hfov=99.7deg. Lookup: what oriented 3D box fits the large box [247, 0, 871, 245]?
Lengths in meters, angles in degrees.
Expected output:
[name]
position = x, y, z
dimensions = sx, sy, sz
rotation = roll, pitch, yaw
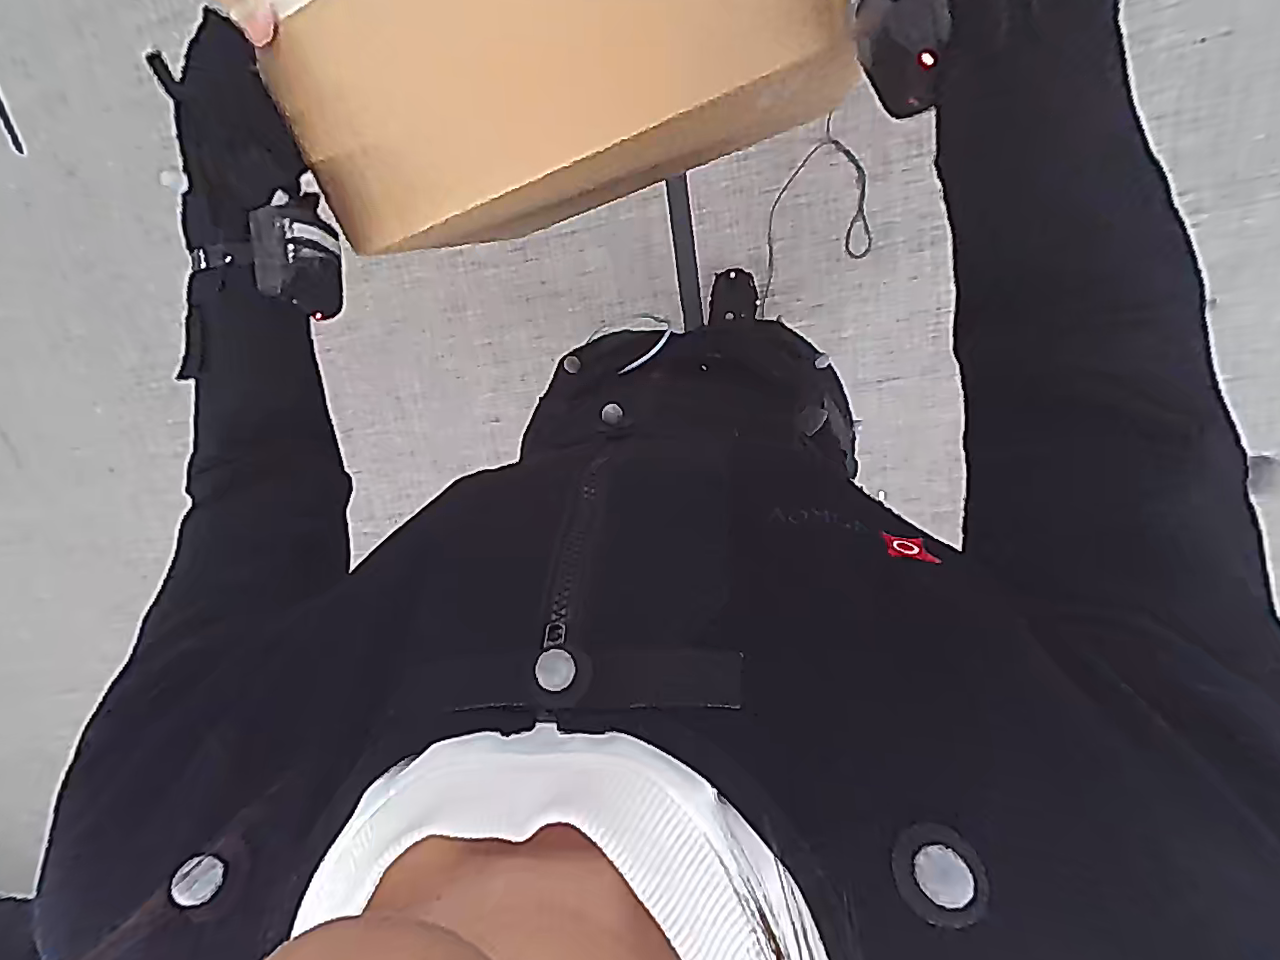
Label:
[large box]
position = -0.062, -0.432, 0.452
dimensions = 0.408, 0.320, 0.320
rotation = -15, 113, 19
